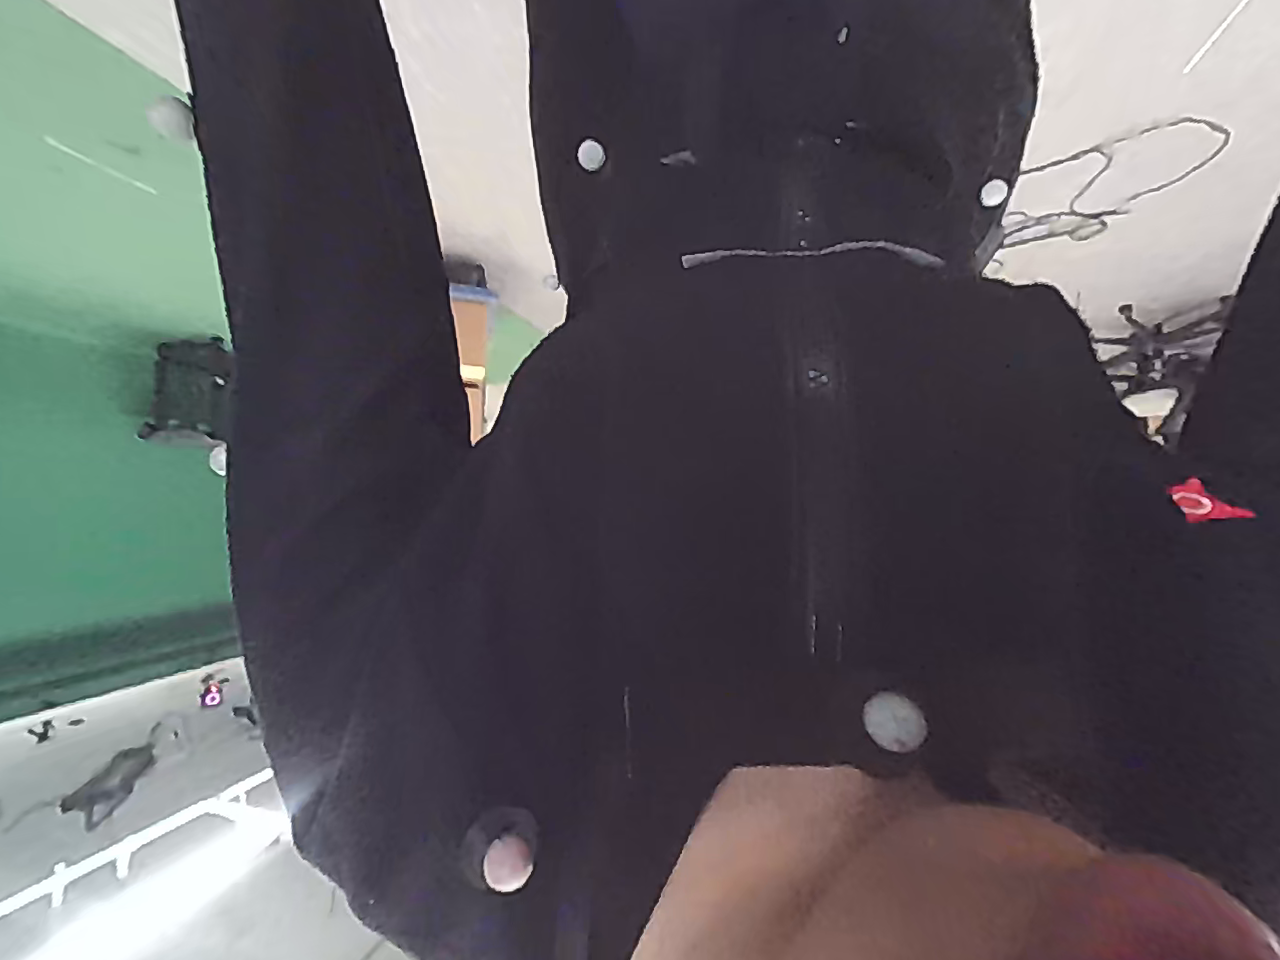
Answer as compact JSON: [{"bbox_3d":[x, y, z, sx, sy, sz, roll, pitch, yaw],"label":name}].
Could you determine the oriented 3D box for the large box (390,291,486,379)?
[{"bbox_3d":[-0.959,-0.681,2.590,0.408,0.320,0.320,3,179,-20],"label":"large box"}]
